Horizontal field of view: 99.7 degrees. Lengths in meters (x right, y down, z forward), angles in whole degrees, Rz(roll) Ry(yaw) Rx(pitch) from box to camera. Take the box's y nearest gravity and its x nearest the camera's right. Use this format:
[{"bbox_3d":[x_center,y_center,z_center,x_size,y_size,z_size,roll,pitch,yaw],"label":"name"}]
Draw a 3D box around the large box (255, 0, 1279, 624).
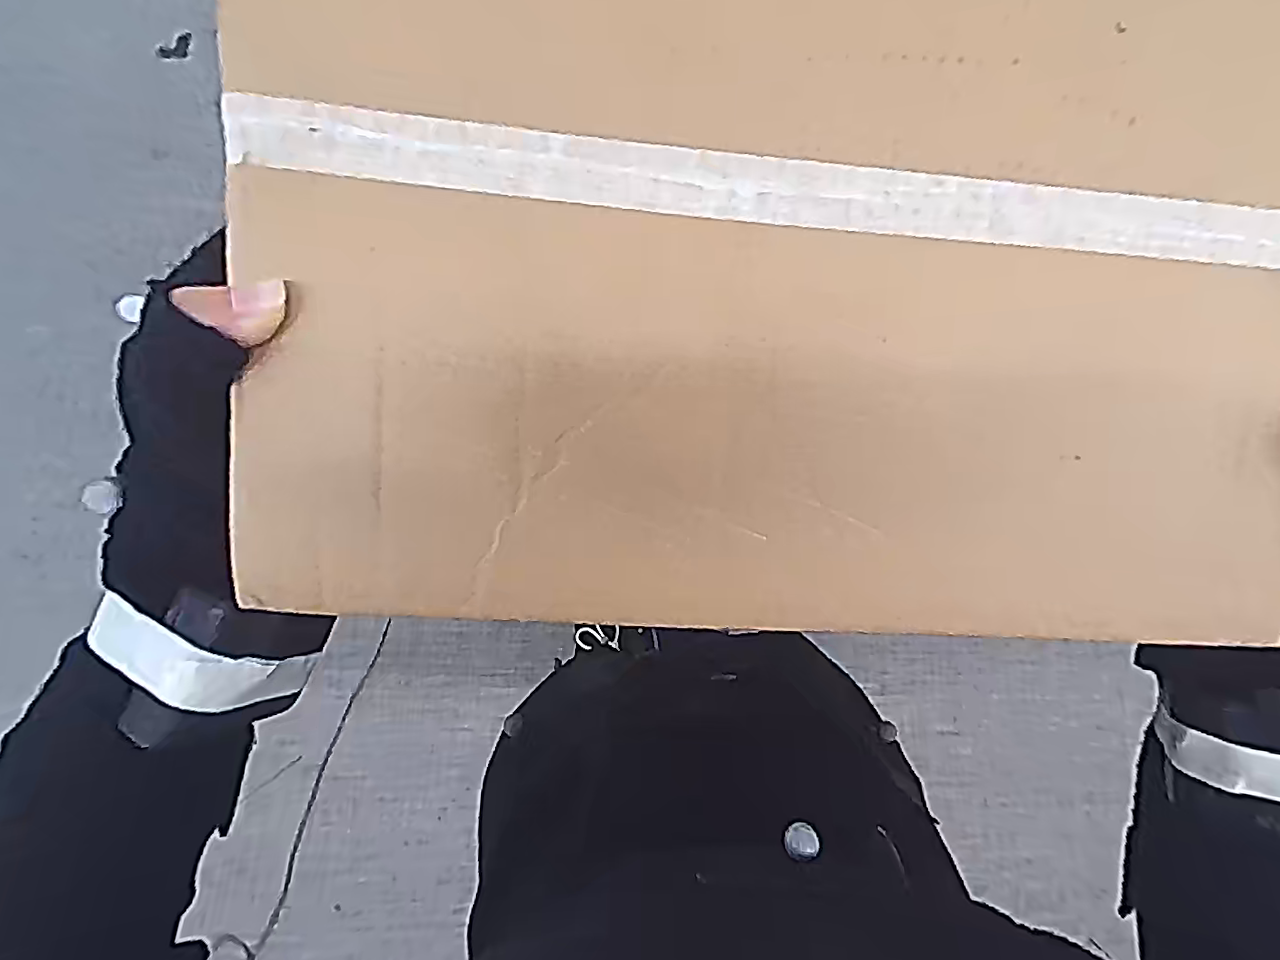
[{"bbox_3d":[0.056,-0.113,0.350,0.408,0.320,0.320,3,96,-5],"label":"large box"}]
